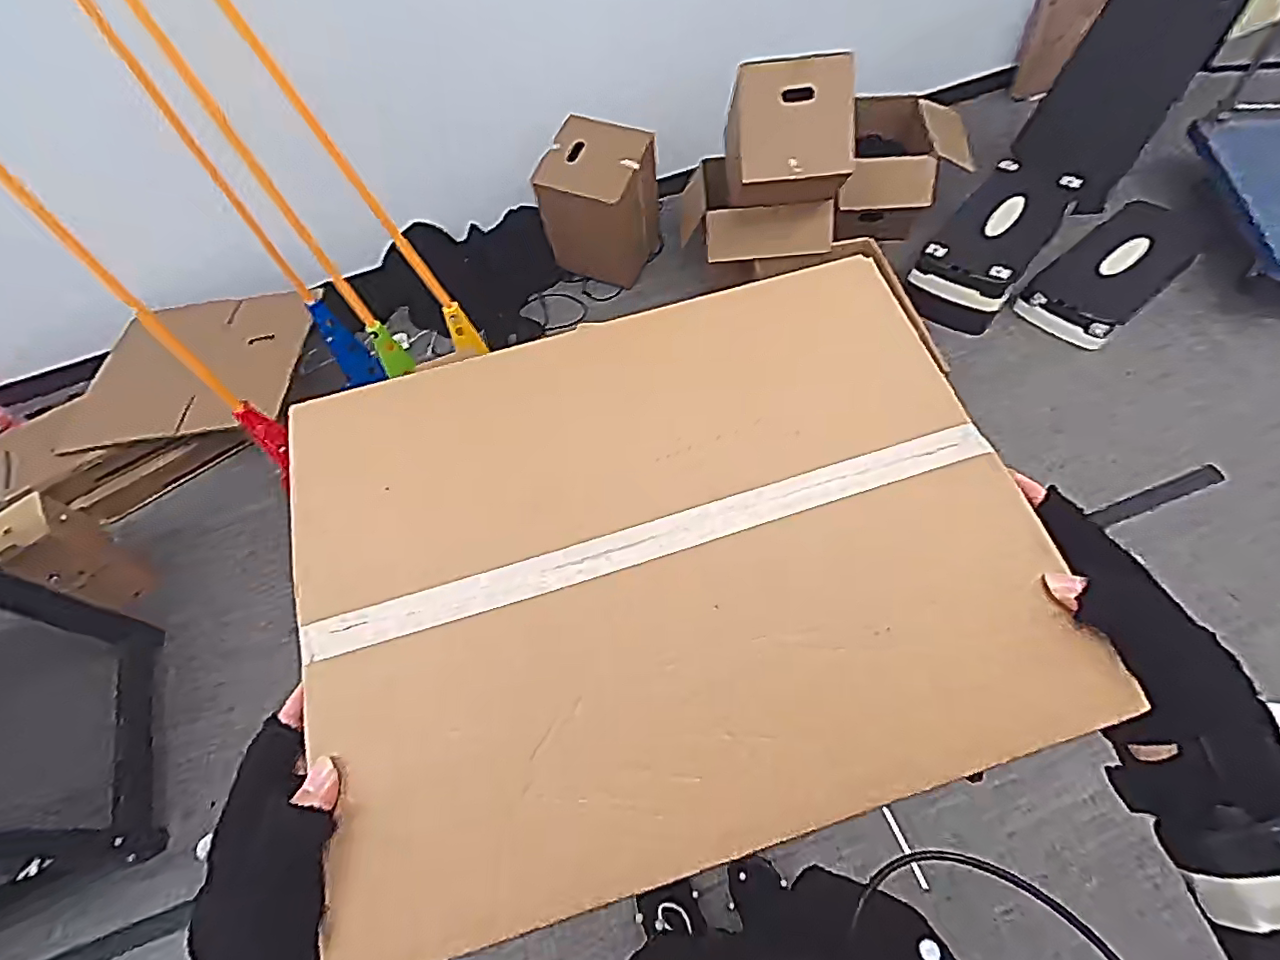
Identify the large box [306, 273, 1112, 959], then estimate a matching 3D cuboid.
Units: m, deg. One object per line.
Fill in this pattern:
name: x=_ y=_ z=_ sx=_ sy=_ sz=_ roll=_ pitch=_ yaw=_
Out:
large box: x=0.020 y=0.097 z=0.453 sx=0.408 sy=0.320 sz=0.320 roll=-17 pitch=68 yaw=-4
